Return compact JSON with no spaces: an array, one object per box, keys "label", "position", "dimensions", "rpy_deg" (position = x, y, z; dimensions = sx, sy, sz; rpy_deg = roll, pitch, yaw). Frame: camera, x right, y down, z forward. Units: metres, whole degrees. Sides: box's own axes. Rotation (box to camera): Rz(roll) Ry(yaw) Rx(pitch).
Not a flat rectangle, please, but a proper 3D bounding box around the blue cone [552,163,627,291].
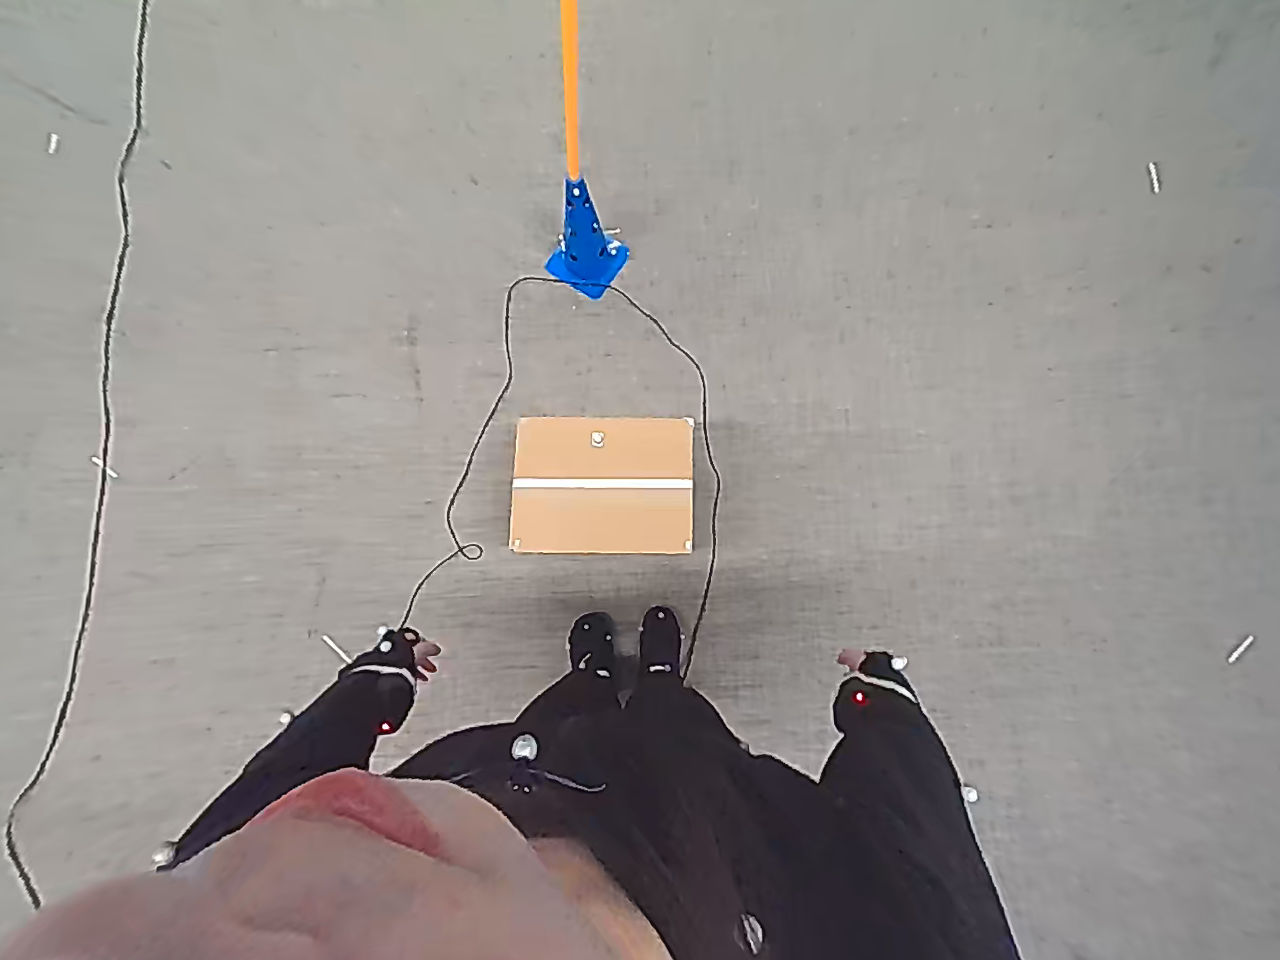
[{"label":"blue cone","position":[-0.149,-0.701,1.450],"dimensions":[0.192,0.380,0.193],"rpy_deg":[30,81,4]}]
